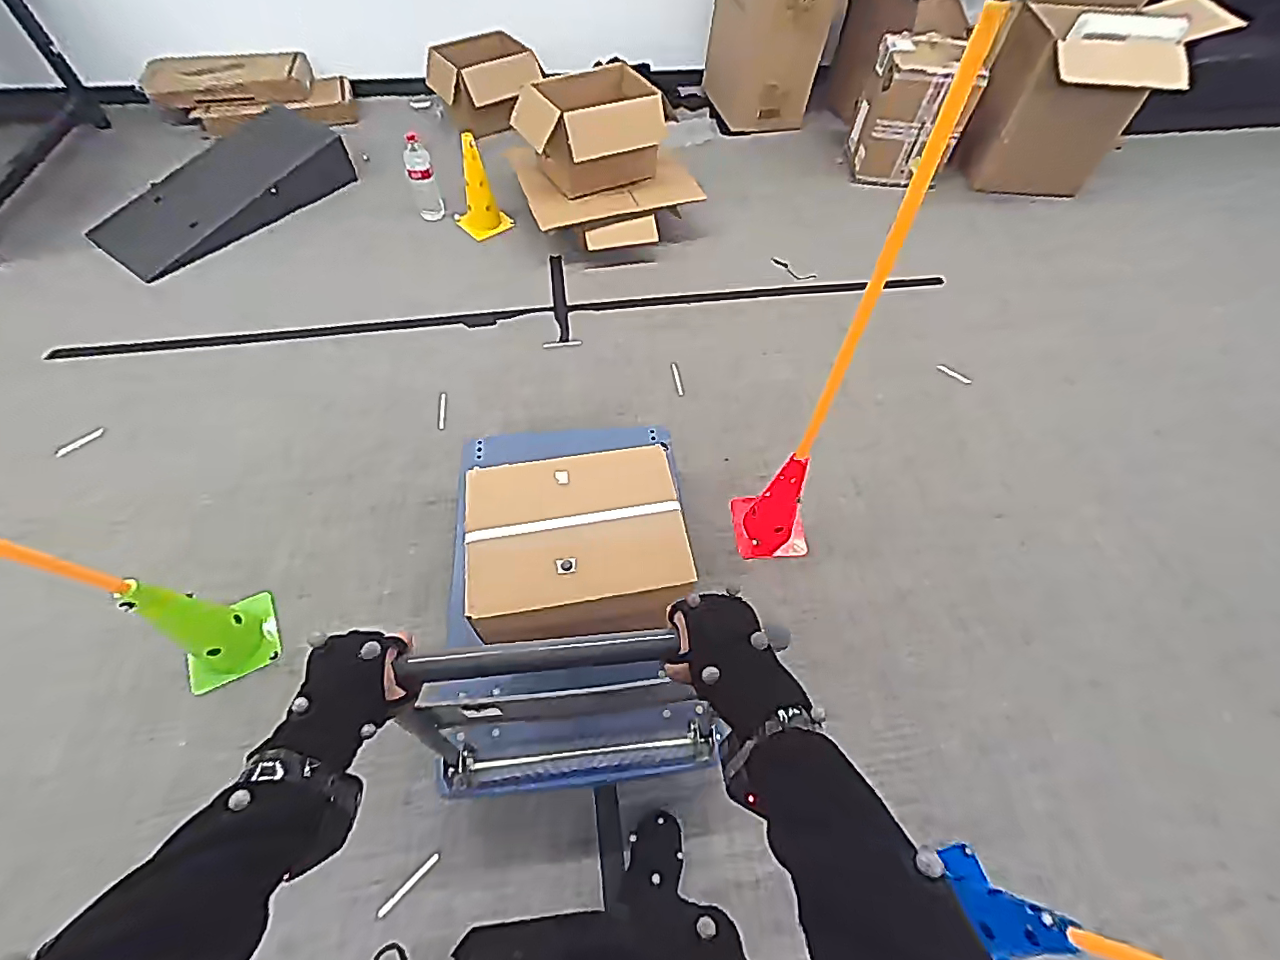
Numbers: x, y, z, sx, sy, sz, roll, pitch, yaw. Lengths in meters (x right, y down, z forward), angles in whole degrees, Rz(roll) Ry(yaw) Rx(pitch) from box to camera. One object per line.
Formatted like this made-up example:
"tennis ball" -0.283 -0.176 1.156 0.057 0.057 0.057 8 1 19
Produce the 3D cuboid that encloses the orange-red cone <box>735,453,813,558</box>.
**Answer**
"orange-red cone" 0.388 0.044 1.431 0.199 0.360 0.198 0 57 -4

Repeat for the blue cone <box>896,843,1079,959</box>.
"blue cone" 0.651 0.787 0.974 0.193 0.380 0.192 -10 57 -9
